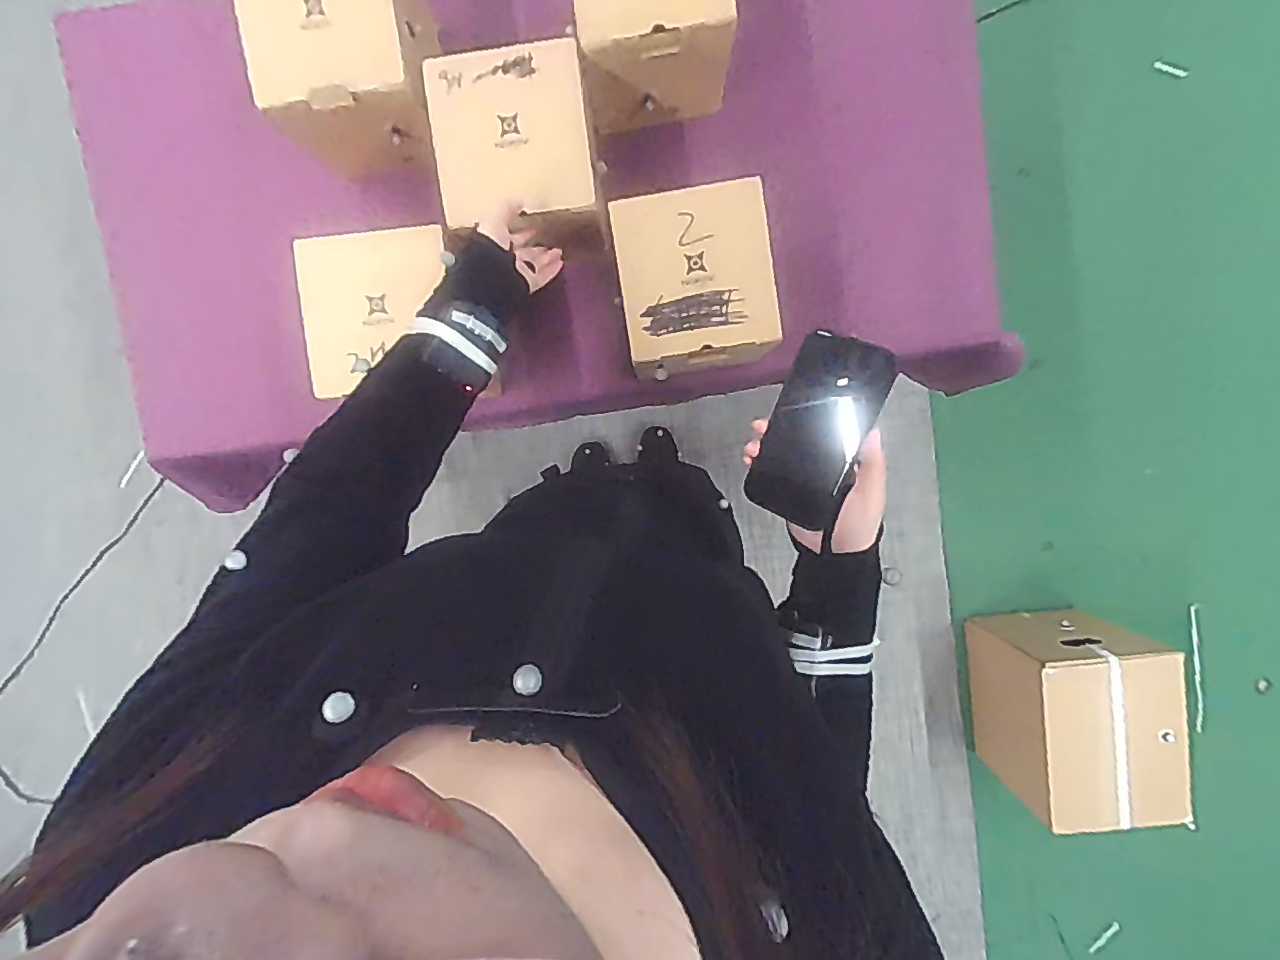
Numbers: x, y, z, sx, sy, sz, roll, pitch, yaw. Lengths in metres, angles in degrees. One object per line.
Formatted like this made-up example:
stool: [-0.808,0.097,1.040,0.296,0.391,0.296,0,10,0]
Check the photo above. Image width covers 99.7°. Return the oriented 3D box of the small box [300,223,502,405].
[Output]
small box: [-0.280,-0.191,0.670,0.168,0.176,0.179,-5,95,3]

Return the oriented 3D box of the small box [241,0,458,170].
small box: [-0.333,-0.498,0.646,0.168,0.176,0.179,-7,95,1]

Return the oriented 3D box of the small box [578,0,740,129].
small box: [0.012,-0.556,0.632,0.168,0.176,0.179,-10,96,3]
